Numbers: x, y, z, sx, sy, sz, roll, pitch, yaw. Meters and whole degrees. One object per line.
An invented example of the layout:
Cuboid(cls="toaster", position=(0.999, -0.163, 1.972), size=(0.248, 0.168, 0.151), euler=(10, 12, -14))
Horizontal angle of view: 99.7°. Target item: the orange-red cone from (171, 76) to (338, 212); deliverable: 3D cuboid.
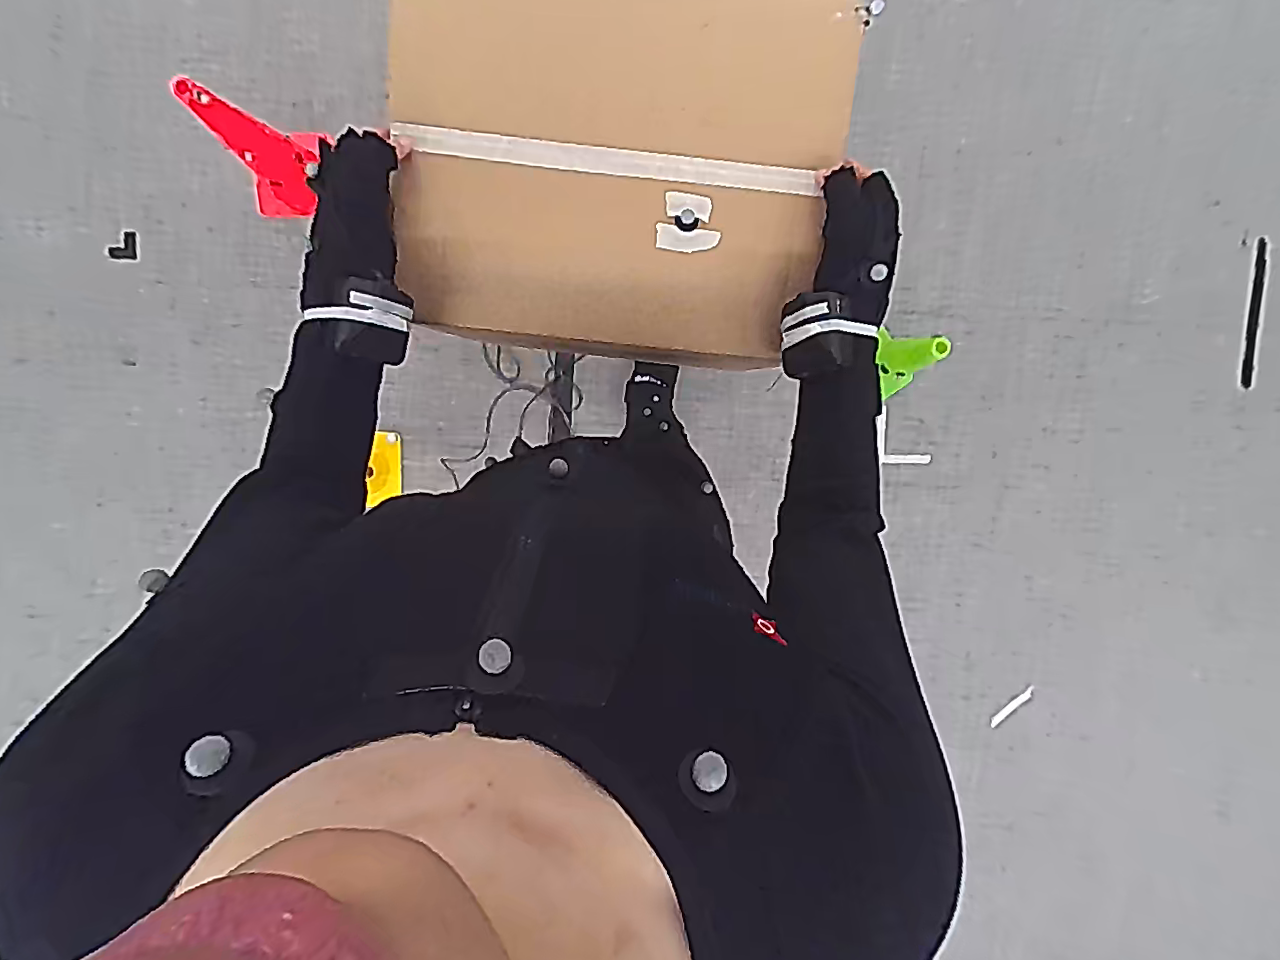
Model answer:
Cuboid(cls="orange-red cone", position=(-0.857, -0.754, 1.183), size=(0.198, 0.360, 0.199), euler=(0, 97, 0))

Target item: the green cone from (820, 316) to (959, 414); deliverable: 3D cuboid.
Cuboid(cls="green cone", position=(0.607, -0.288, 1.255), size=(0.202, 0.368, 0.200), euler=(-35, 96, 1))

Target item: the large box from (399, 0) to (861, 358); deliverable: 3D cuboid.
Cuboid(cls="large box", position=(-0.021, -0.324, 0.635), size=(0.408, 0.320, 0.320), euler=(5, 100, -3))
